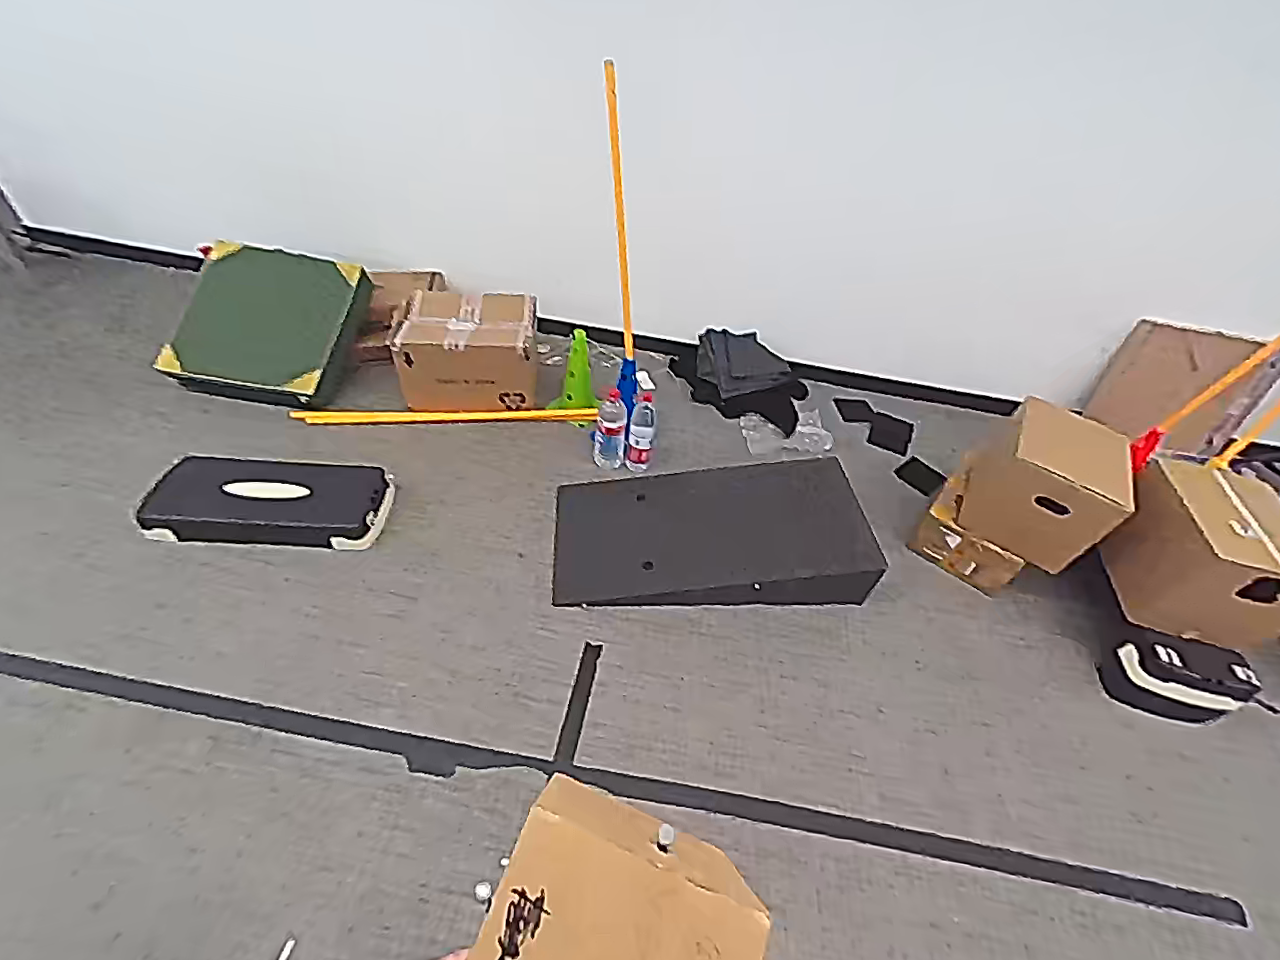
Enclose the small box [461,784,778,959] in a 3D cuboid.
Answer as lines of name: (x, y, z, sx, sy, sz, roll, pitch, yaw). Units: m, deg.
small box: (-0.031, 0.343, 0.387, 0.179, 0.176, 0.168, 24, 68, 5)
